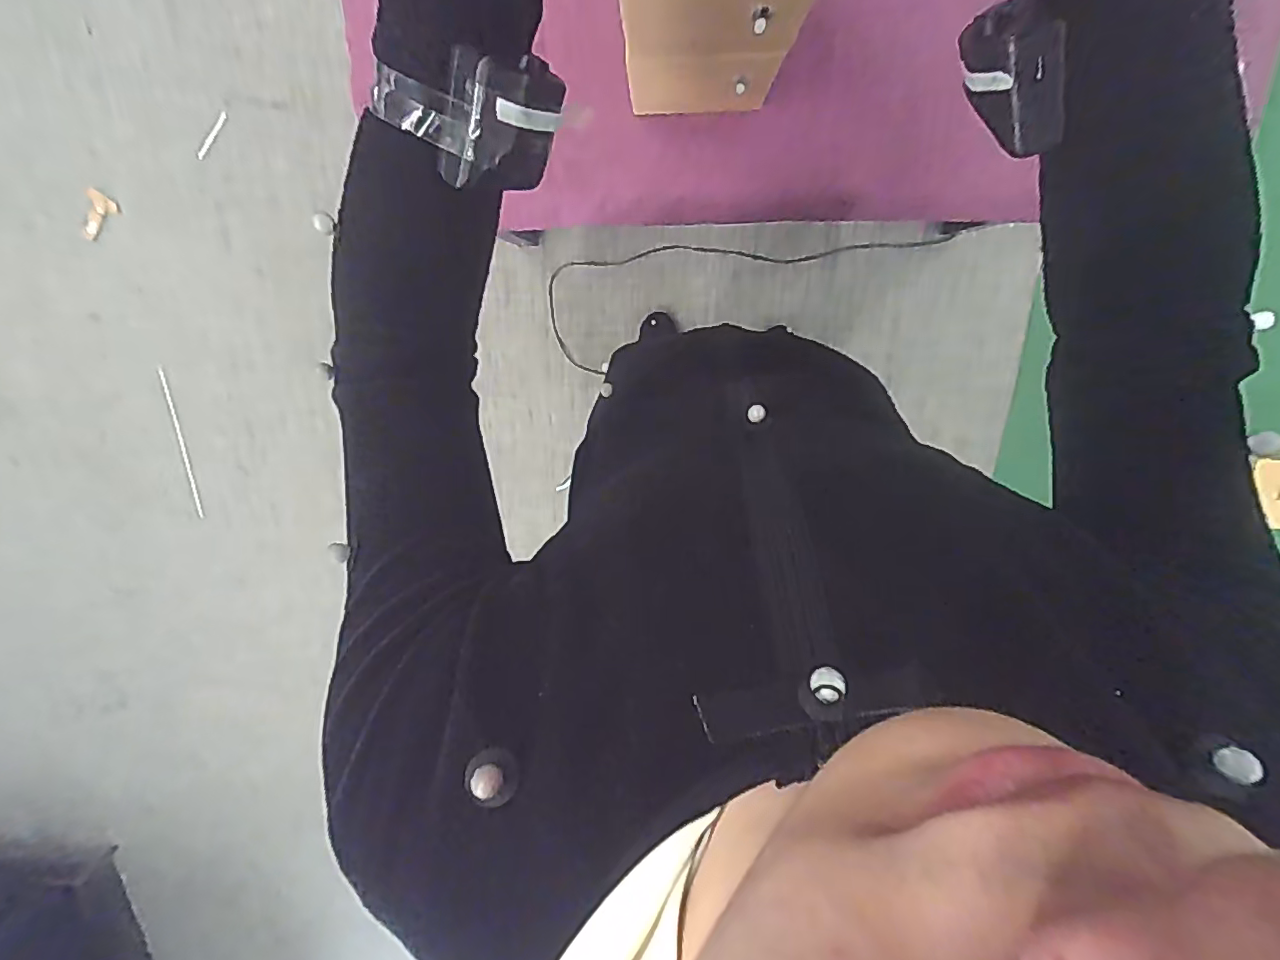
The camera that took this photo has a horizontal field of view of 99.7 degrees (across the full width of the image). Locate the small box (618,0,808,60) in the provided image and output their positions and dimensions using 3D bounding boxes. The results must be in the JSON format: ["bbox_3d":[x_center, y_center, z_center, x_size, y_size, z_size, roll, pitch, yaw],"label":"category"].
[{"bbox_3d":[0.068,-0.509,0.485,0.179,0.176,0.168,0,107,3],"label":"small box"}]
